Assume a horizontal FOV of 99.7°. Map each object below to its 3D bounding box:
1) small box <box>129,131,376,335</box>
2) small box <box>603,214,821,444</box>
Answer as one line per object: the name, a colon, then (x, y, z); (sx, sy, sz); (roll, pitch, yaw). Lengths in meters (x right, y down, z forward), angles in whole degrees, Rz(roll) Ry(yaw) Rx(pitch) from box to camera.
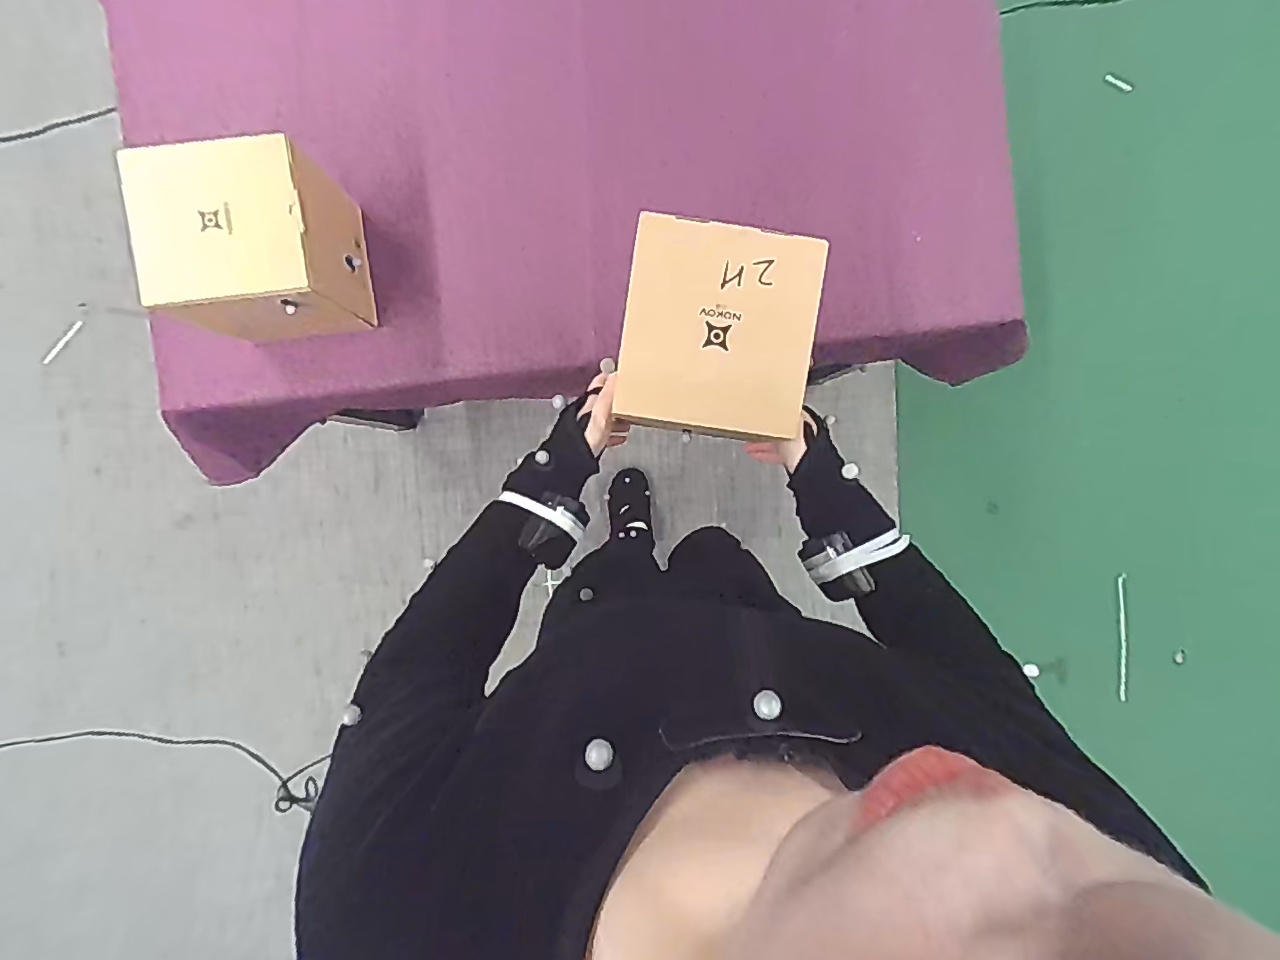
small box: (-0.454, -0.285, 0.661); (0.179, 0.176, 0.168); (-8, 90, -3)
small box: (0.061, -0.133, 0.543); (0.168, 0.176, 0.179); (9, 93, -1)
